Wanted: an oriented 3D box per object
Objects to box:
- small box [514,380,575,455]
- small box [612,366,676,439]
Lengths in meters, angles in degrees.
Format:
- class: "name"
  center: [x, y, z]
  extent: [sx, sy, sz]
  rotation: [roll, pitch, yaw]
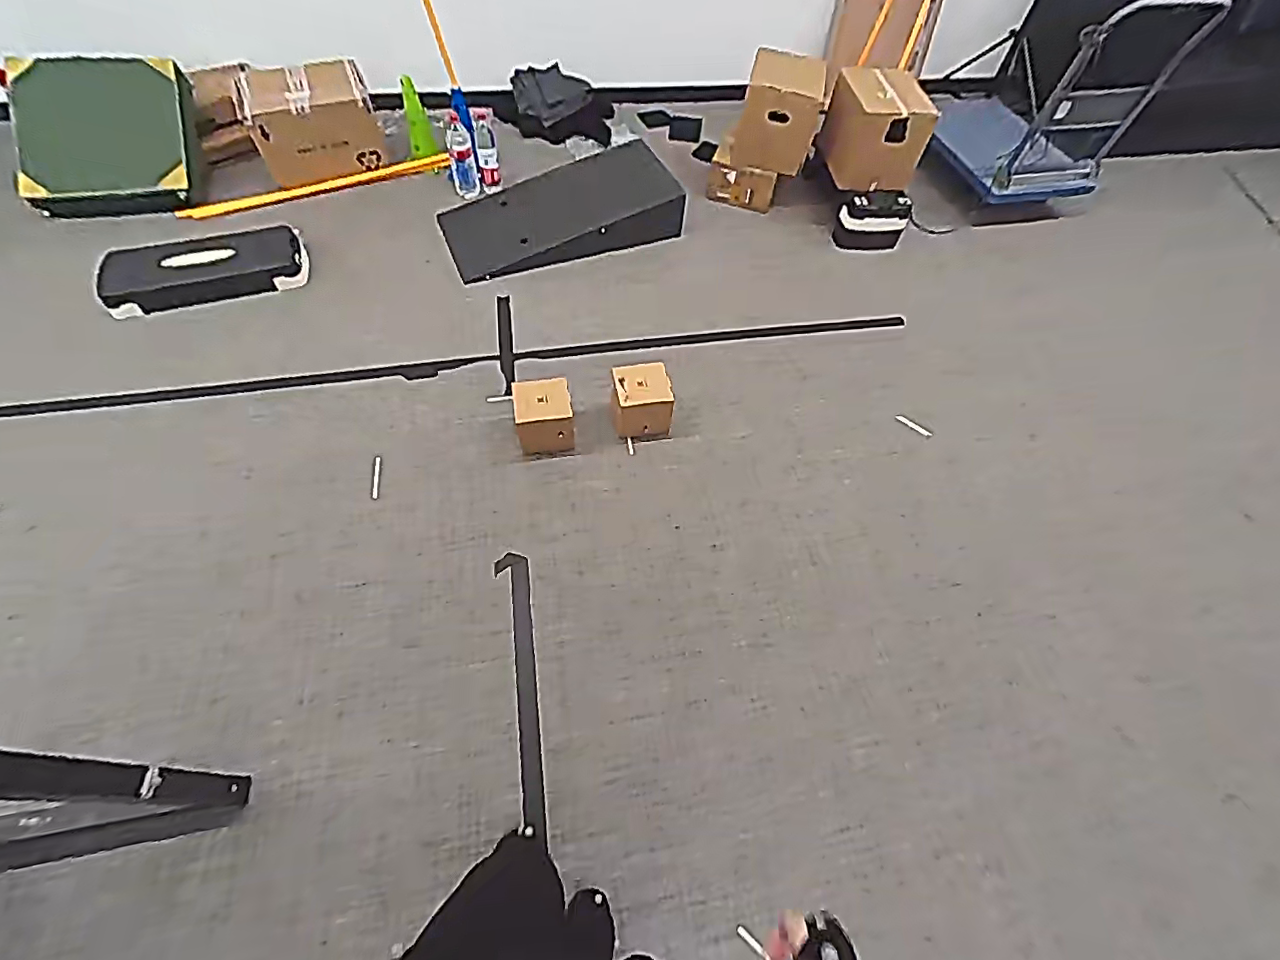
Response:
- class: "small box"
  center: [-0.302, -0.198, 1.730]
  extent: [0.179, 0.176, 0.168]
  rotation: [-8, 58, -8]
- class: "small box"
  center: [0.008, -0.254, 1.788]
  extent: [0.179, 0.176, 0.168]
  rotation: [-7, 58, -9]
